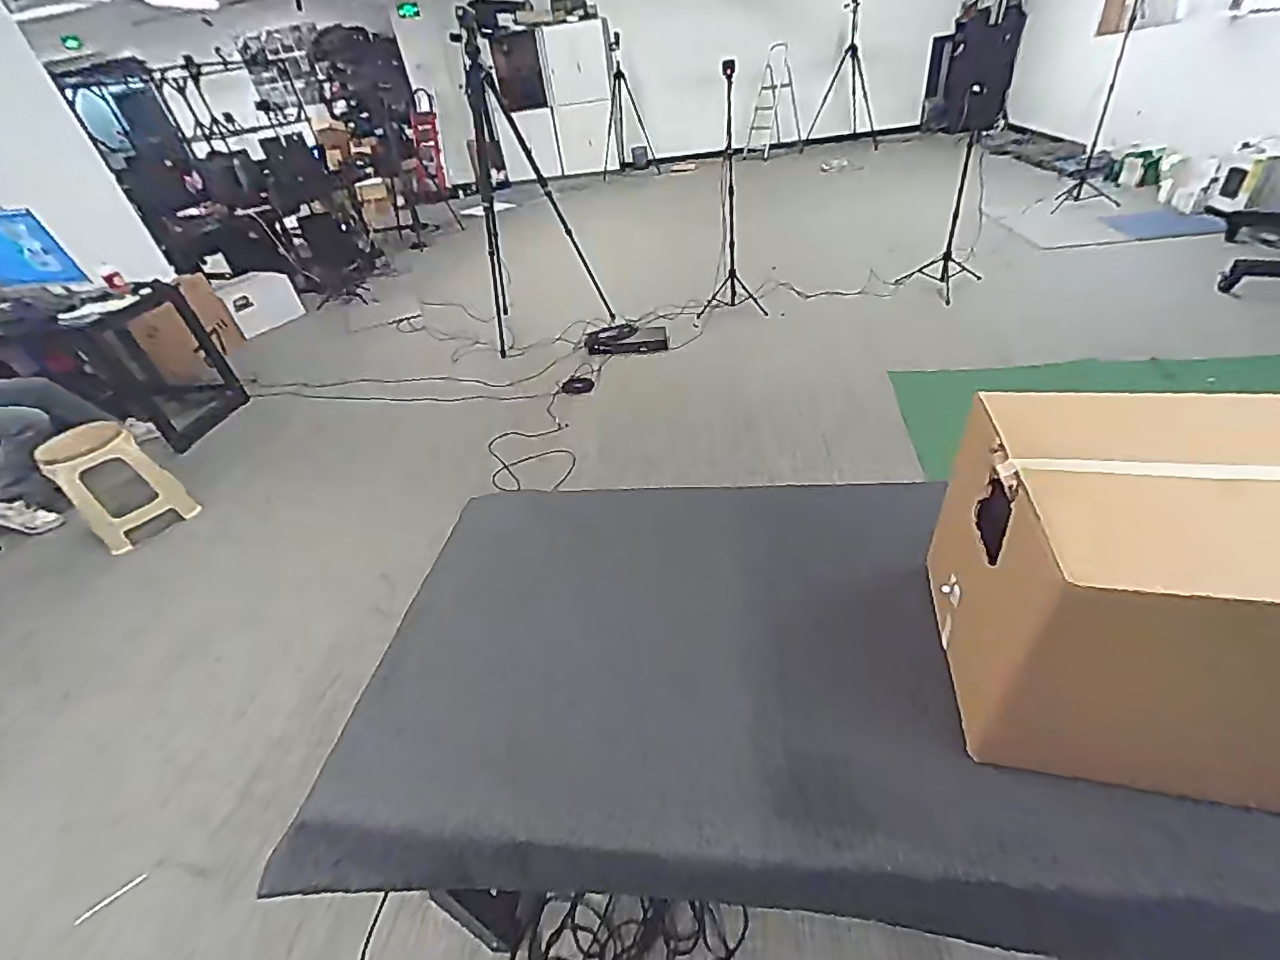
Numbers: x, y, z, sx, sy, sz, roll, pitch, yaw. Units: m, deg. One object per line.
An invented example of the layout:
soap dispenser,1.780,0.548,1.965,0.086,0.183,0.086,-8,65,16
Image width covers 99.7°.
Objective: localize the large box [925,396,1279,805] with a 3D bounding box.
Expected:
large box,0.586,0.118,0.593,0.408,0.320,0.320,4,40,14
